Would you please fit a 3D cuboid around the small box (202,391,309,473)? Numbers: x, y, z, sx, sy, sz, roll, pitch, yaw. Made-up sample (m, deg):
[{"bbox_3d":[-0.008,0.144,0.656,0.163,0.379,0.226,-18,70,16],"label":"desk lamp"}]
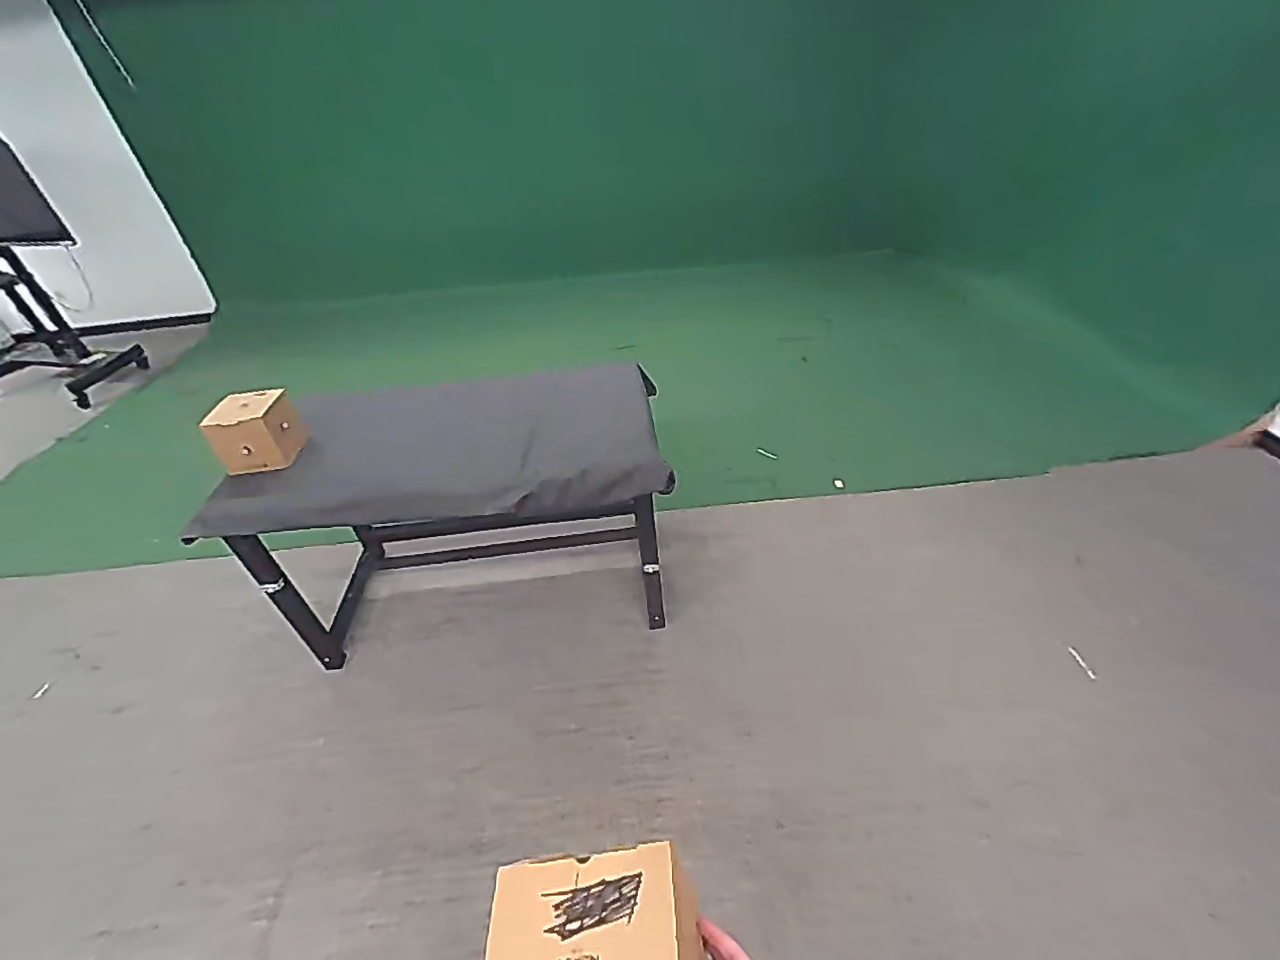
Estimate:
[{"bbox_3d":[-1.094,-0.134,1.559,0.168,0.176,0.179,-7,39,-4],"label":"small box"}]
